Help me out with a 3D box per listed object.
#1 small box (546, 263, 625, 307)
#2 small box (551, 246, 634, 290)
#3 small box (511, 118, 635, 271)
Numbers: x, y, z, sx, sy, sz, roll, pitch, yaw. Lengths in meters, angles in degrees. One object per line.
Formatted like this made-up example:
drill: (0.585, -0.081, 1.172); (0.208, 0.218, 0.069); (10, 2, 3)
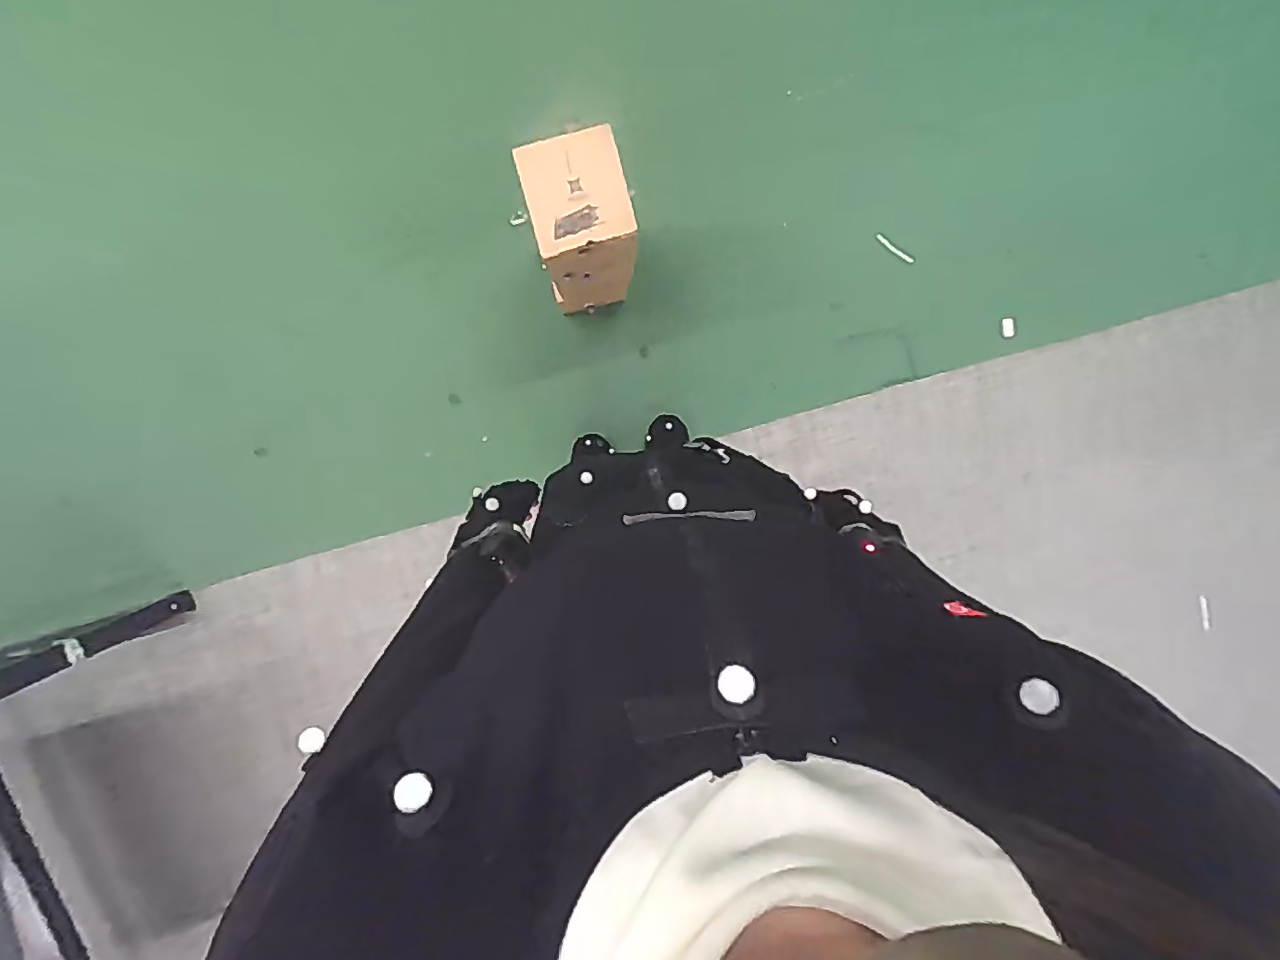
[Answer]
small box: (-0.132, -0.517, 1.253); (0.168, 0.176, 0.179); (-12, 99, 0)
small box: (-0.115, -0.505, 1.109); (0.168, 0.176, 0.179); (-15, 97, -1)
small box: (-0.108, -0.482, 0.946); (0.168, 0.176, 0.179); (-15, 97, -1)
